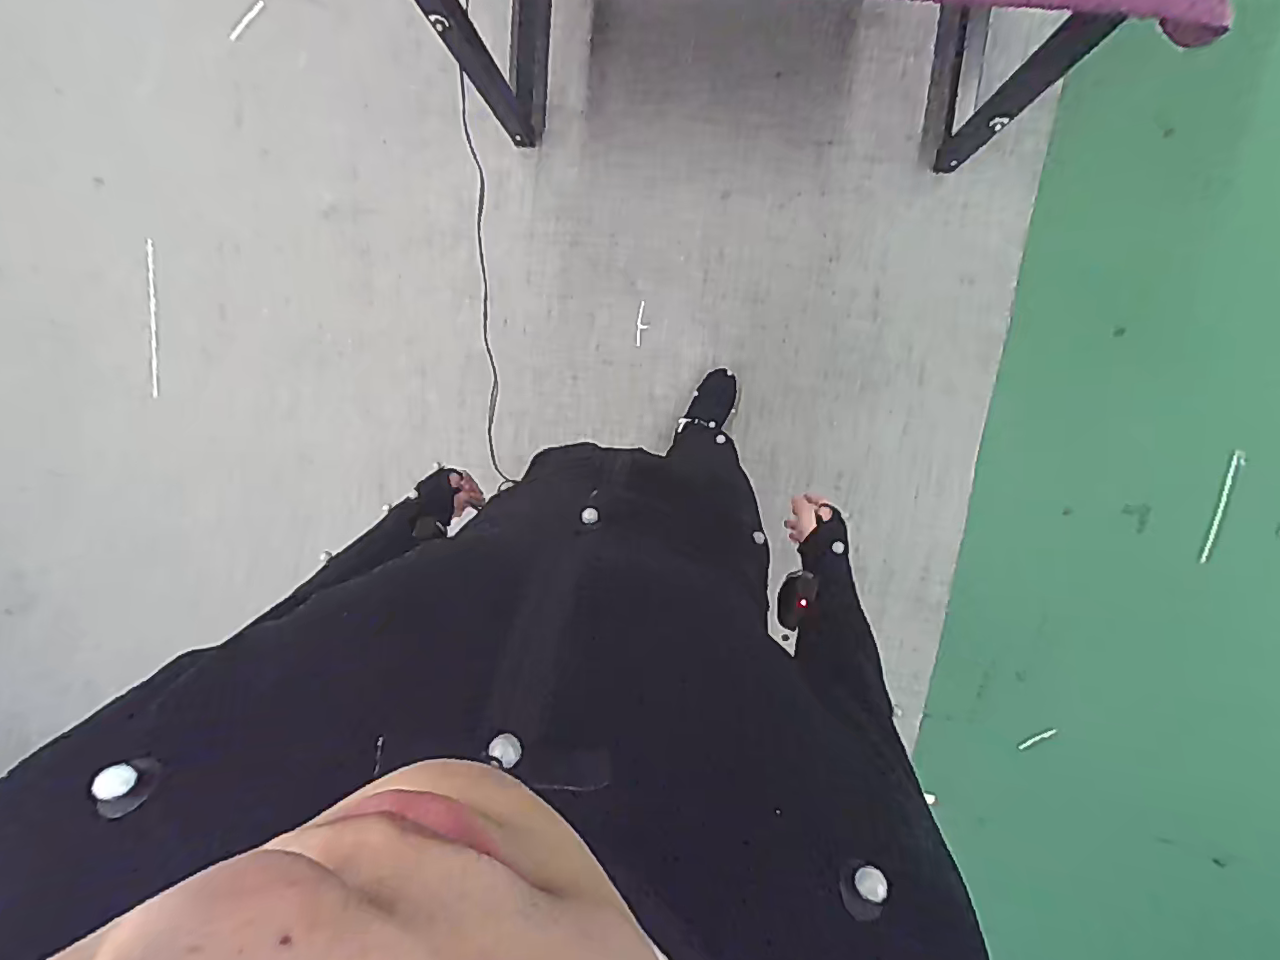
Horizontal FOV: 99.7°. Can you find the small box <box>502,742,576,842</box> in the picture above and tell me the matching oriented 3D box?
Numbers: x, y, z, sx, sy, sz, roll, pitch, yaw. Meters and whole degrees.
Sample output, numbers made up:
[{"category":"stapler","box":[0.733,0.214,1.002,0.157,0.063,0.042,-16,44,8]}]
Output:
[{"category":"small box","box":[-0.300,0.943,1.645,0.168,0.176,0.179,13,99,3]}]
